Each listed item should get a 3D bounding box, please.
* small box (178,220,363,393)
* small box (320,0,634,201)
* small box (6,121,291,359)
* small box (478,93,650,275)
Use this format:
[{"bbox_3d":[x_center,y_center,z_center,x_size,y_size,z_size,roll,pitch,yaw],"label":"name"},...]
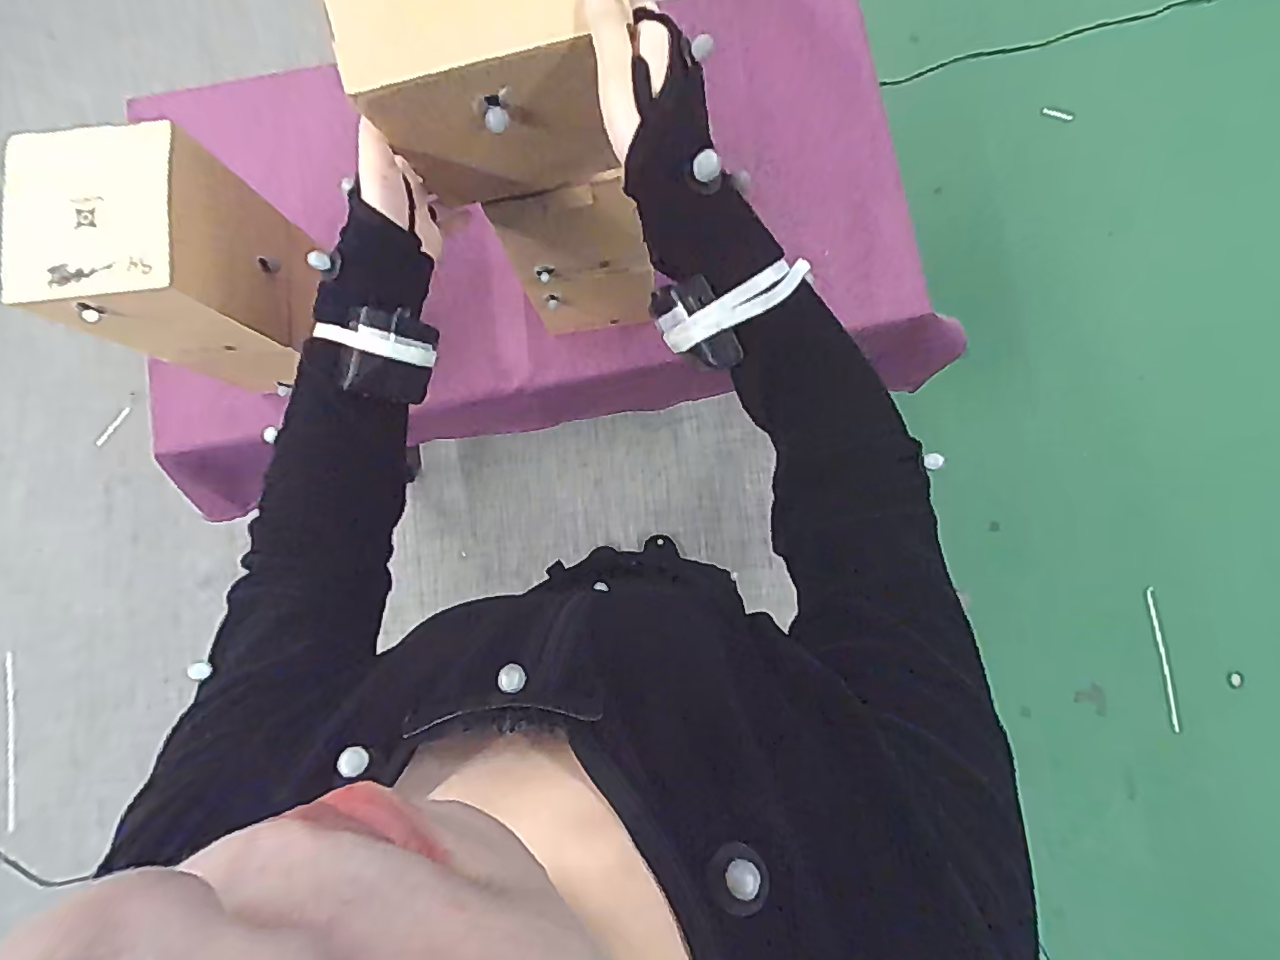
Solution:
[{"bbox_3d":[-0.516,-0.235,0.767,0.168,0.176,0.179,-5,84,2],"label":"small box"},{"bbox_3d":[-0.103,-0.328,0.384,0.179,0.176,0.168,-12,96,4],"label":"small box"},{"bbox_3d":[-0.523,-0.252,0.603,0.168,0.176,0.179,-5,83,3],"label":"small box"},{"bbox_3d":[-0.083,-0.347,0.597,0.168,0.176,0.179,-10,82,1],"label":"small box"}]
